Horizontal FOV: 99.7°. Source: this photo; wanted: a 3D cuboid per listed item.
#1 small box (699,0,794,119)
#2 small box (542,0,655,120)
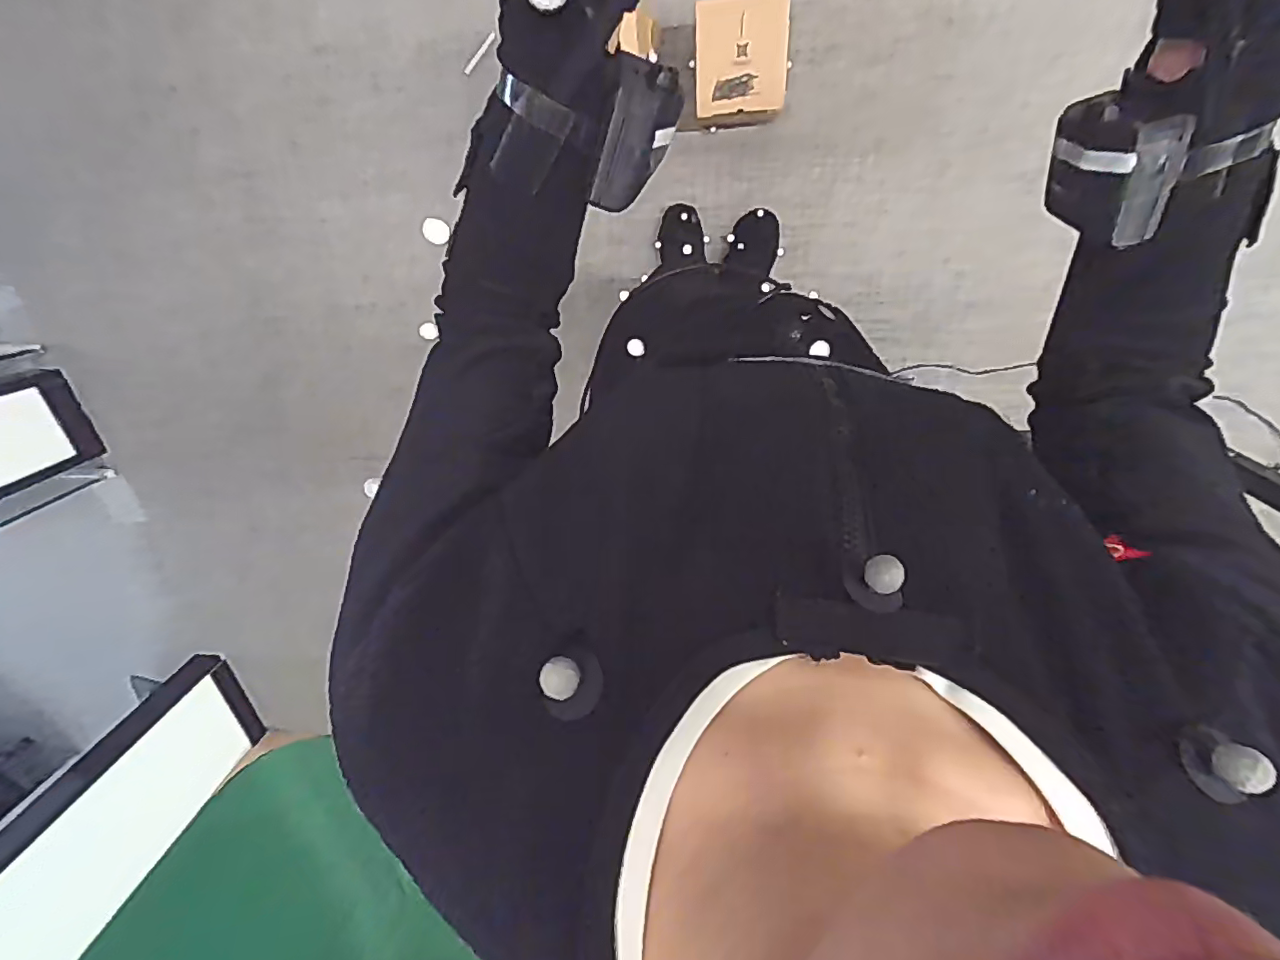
[{"bbox_3d":[0.200,-0.812,1.046,0.168,0.176,0.179,0,117,8],"label":"small box"},{"bbox_3d":[-0.065,-0.743,0.936,0.168,0.176,0.179,1,117,7],"label":"small box"}]
